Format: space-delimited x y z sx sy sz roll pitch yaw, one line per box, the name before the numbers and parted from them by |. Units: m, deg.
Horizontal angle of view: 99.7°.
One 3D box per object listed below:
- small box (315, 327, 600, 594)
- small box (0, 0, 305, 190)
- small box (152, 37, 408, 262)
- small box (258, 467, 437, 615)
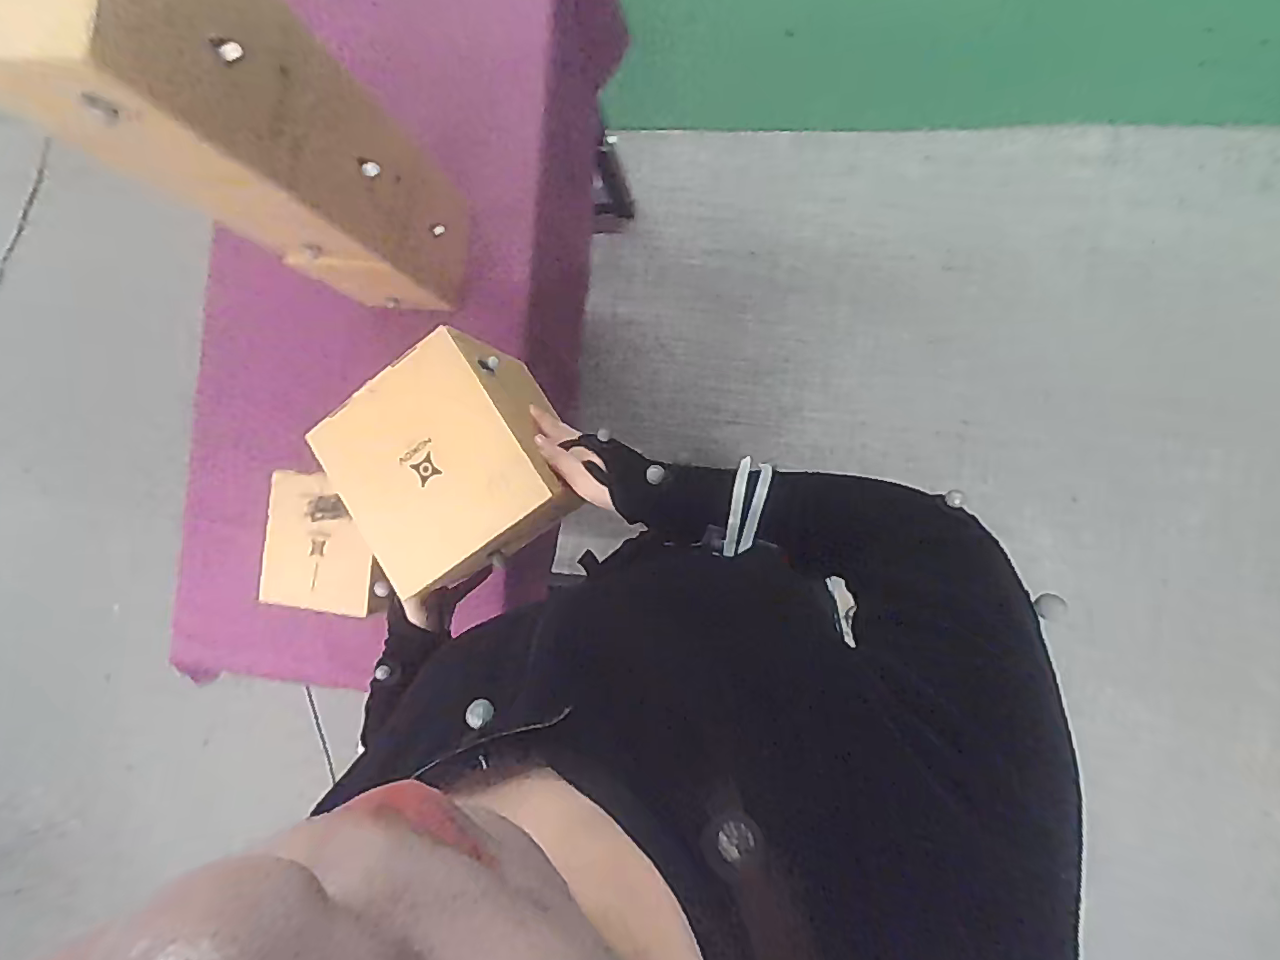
small box | -0.162 -0.017 0.536 0.168 0.176 0.179 -33 85 9
small box | -0.433 -0.377 0.468 0.179 0.176 0.168 8 89 12
small box | -0.403 -0.373 0.631 0.179 0.176 0.168 10 89 10
small box | -0.399 0.080 0.777 0.168 0.176 0.179 5 89 11
